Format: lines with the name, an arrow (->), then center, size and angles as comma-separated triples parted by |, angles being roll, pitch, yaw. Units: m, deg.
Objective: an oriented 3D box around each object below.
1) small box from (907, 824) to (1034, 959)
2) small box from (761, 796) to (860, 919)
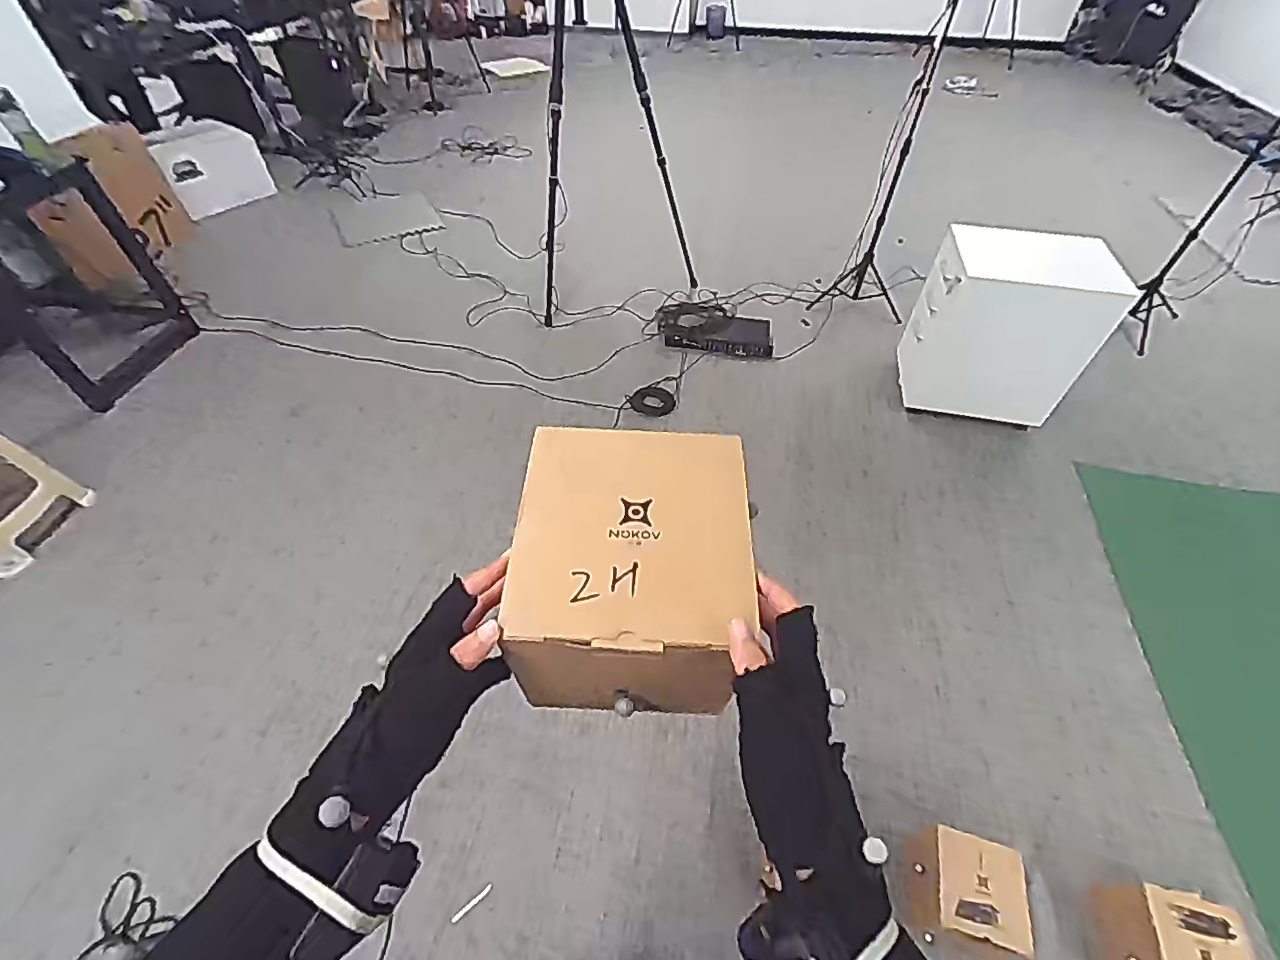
small box -> 0.664, 0.846, 1.109 | 0.168, 0.176, 0.179 | 14, 49, 11
small box -> 0.355, 0.802, 1.147 | 0.168, 0.176, 0.179 | 9, 50, 7
